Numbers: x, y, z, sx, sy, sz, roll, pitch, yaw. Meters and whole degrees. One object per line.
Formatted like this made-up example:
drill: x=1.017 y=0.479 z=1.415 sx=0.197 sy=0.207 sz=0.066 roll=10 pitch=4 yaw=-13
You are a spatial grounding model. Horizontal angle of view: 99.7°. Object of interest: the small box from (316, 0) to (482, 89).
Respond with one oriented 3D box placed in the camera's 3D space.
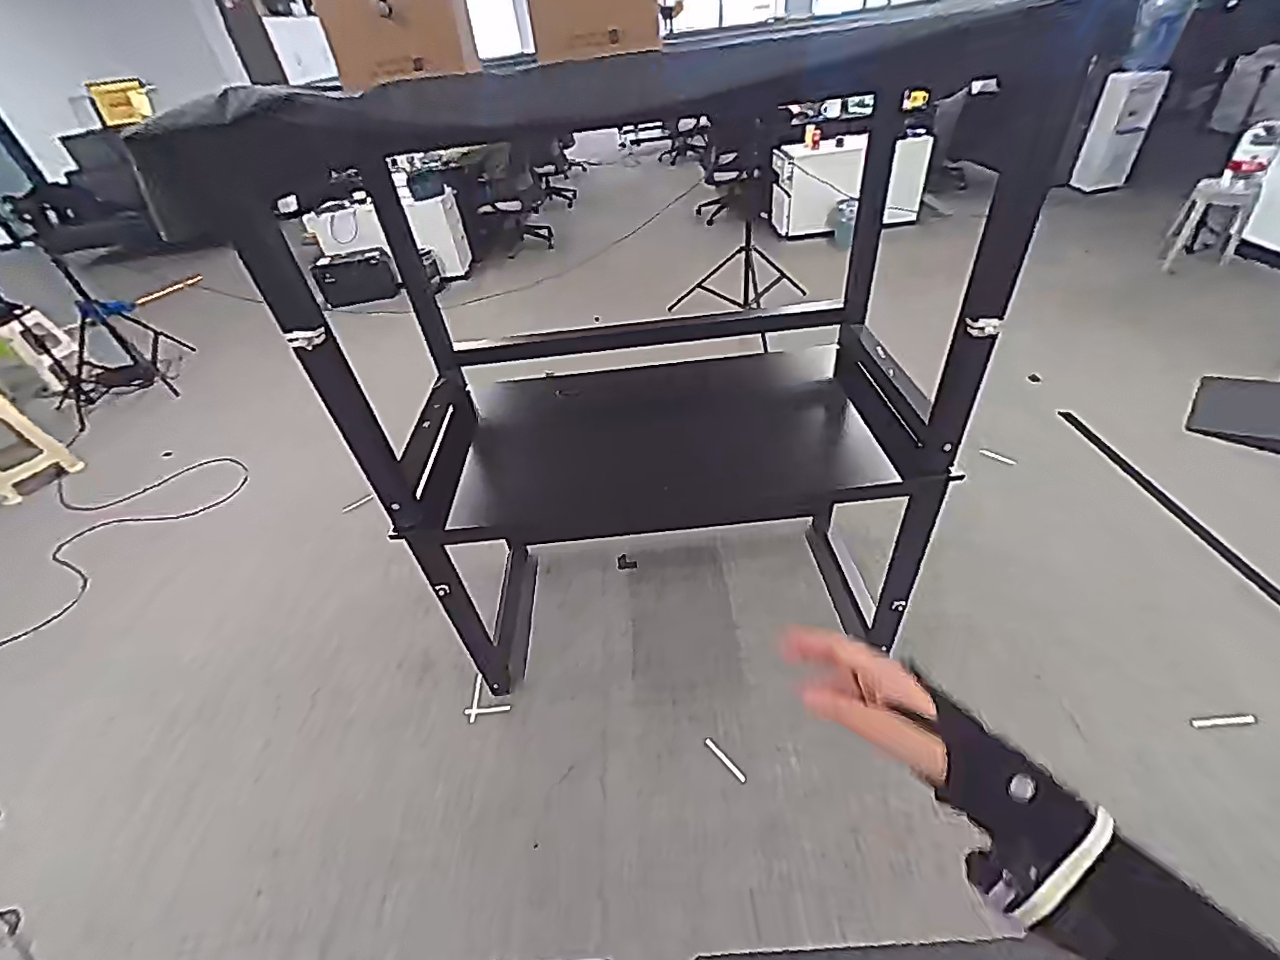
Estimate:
small box: x=-0.319 y=-0.634 z=0.719 sx=0.168 sy=0.176 sz=0.179 roll=-8 pitch=40 yaw=-2
